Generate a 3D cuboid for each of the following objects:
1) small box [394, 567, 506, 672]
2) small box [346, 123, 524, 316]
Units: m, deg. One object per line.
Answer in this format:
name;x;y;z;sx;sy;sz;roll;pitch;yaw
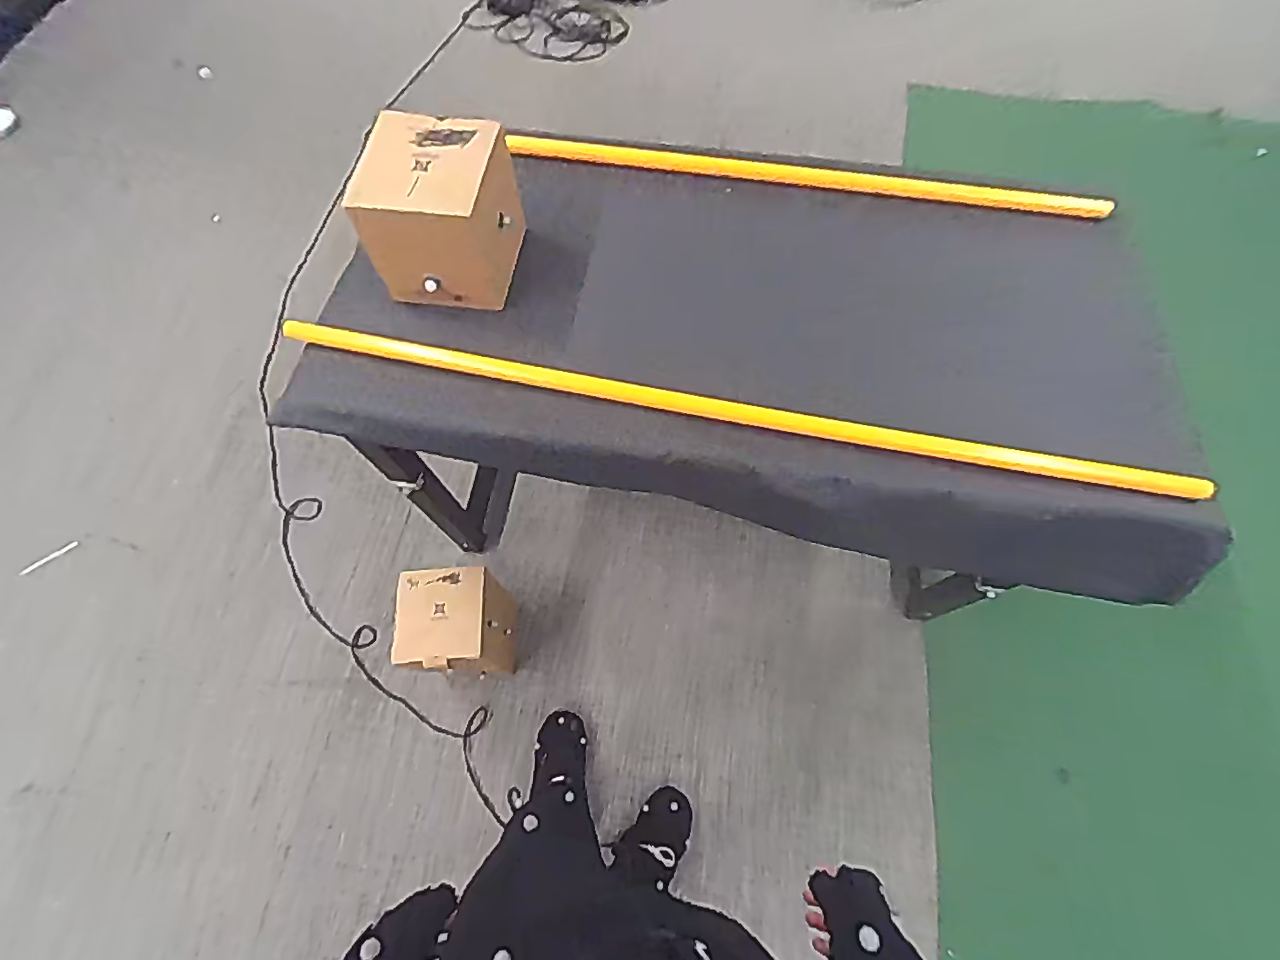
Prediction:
small box;-0.374;0.289;1.094;0.168;0.176;0.179;-7;65;-1
small box;-0.270;-0.362;0.765;0.168;0.176;0.179;6;66;3
